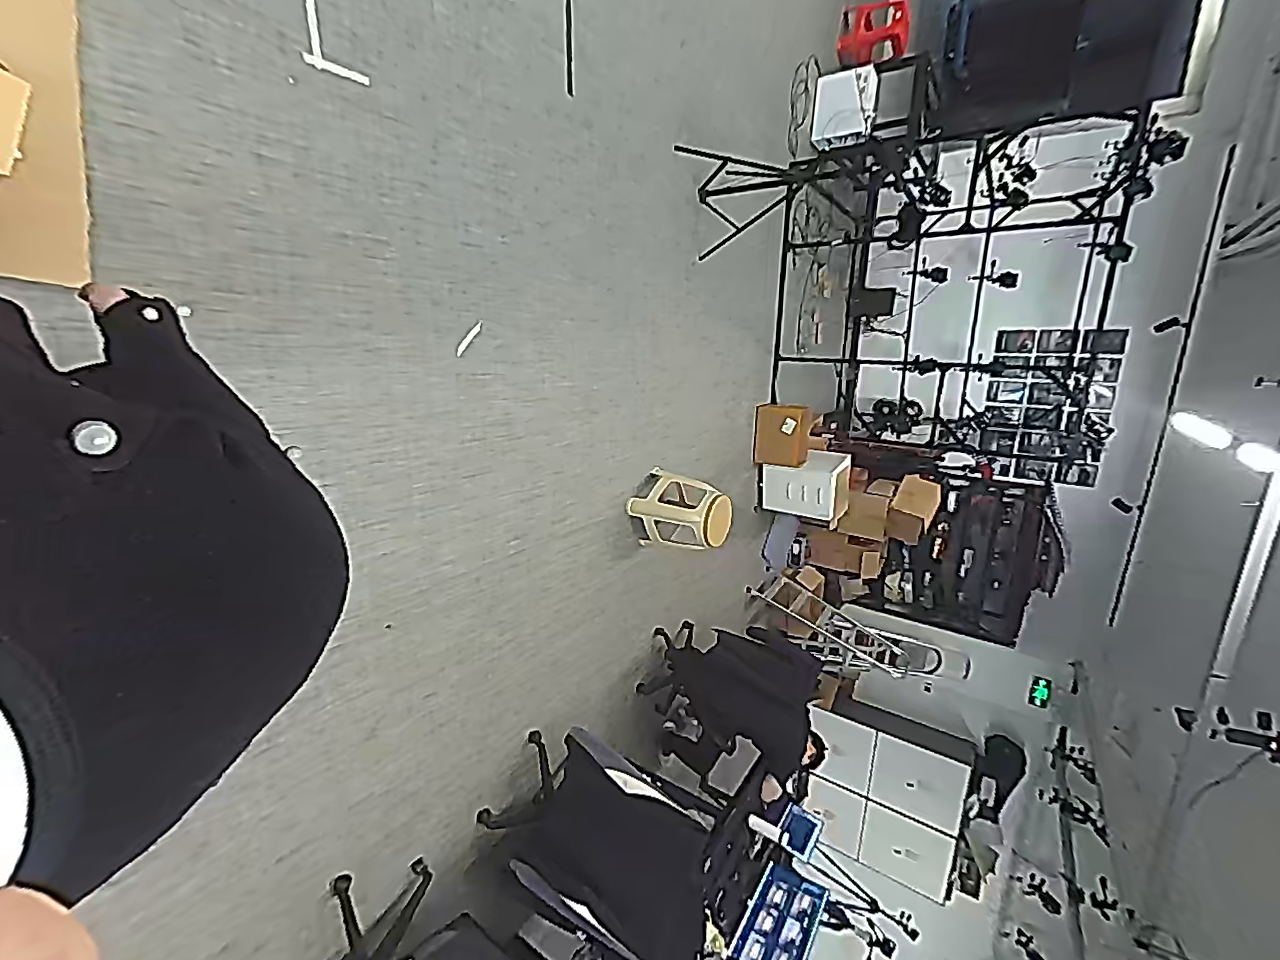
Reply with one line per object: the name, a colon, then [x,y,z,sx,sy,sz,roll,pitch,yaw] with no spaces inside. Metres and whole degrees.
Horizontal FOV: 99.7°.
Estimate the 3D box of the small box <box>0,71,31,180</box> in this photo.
small box: [-1.168,-0.618,0.891,0.179,0.176,0.168,15,86,-57]
